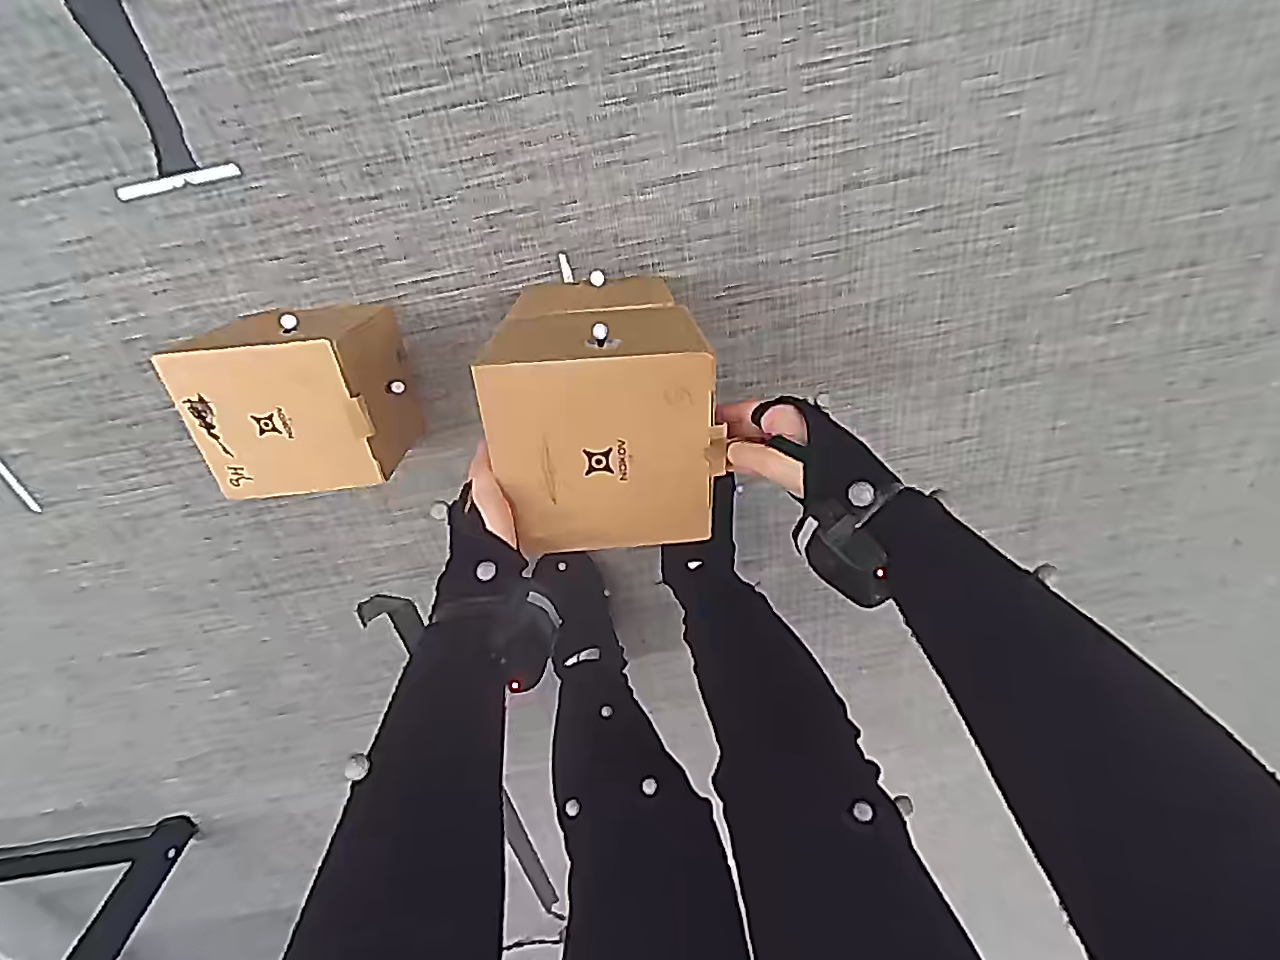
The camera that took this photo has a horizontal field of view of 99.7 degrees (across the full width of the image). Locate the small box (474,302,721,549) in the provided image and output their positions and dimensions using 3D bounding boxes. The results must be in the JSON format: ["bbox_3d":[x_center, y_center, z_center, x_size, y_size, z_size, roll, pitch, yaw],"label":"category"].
[{"bbox_3d":[-0.034,-0.058,0.483,0.179,0.176,0.168,-3,119,-3],"label":"small box"}]

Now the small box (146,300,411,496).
[{"bbox_3d":[-0.378,-0.101,0.615,0.179,0.176,0.168,-6,120,-2],"label":"small box"}]

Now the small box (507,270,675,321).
[{"bbox_3d":[-0.048,-0.134,0.625,0.168,0.176,0.179,-5,119,-2],"label":"small box"}]
